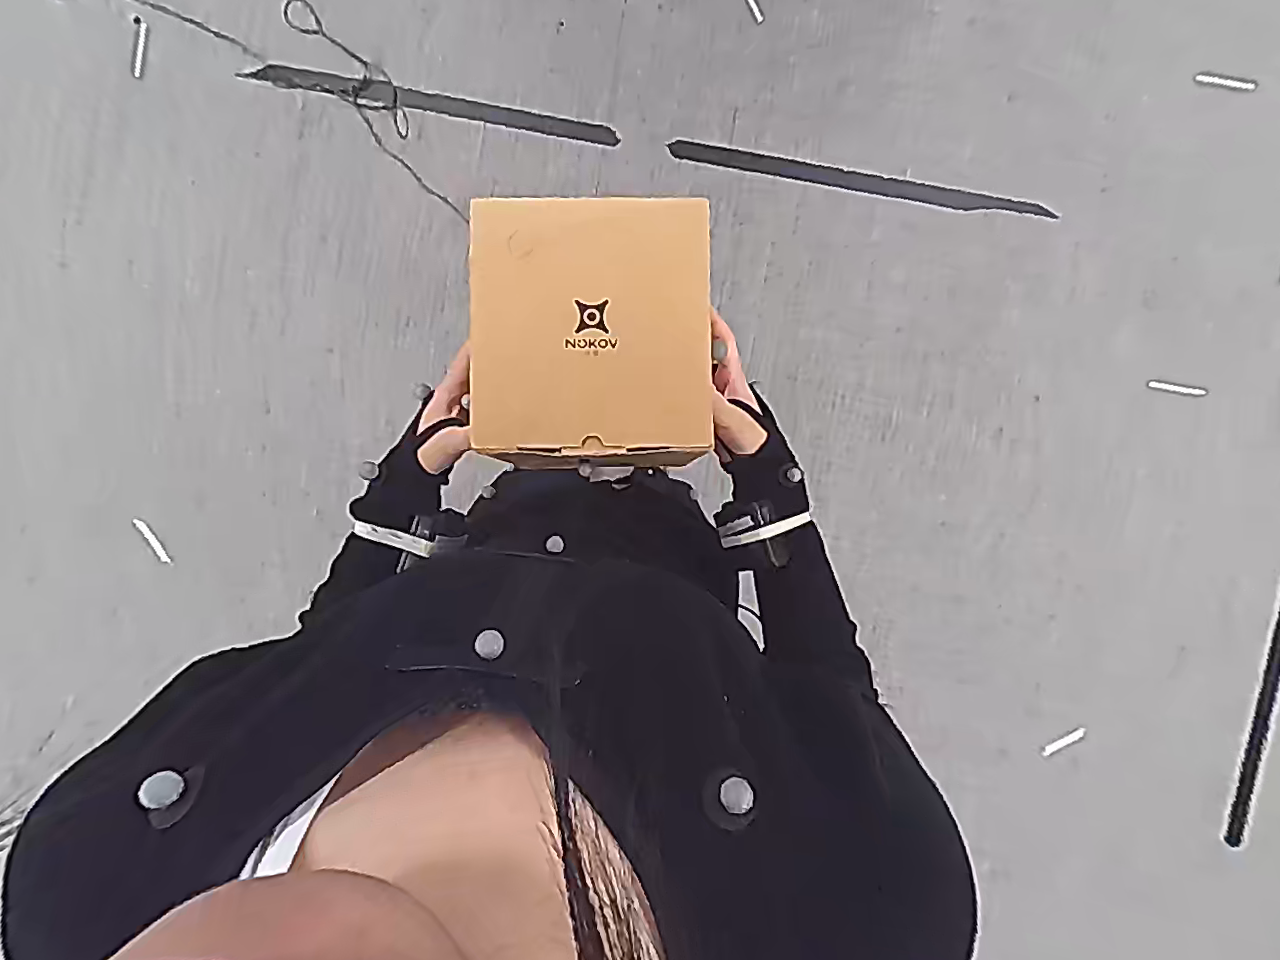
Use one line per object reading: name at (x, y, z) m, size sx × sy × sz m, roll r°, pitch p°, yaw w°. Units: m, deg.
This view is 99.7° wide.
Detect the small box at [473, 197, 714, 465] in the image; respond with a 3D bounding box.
small box at (-0.034, -0.105, 0.448) m, size 0.168 × 0.176 × 0.179 m, roll -1°, pitch 89°, yaw -1°

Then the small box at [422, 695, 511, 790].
small box at (-0.454, 0.686, 1.431) m, size 0.179 × 0.176 × 0.168 m, roll 4°, pitch 94°, yaw 1°
